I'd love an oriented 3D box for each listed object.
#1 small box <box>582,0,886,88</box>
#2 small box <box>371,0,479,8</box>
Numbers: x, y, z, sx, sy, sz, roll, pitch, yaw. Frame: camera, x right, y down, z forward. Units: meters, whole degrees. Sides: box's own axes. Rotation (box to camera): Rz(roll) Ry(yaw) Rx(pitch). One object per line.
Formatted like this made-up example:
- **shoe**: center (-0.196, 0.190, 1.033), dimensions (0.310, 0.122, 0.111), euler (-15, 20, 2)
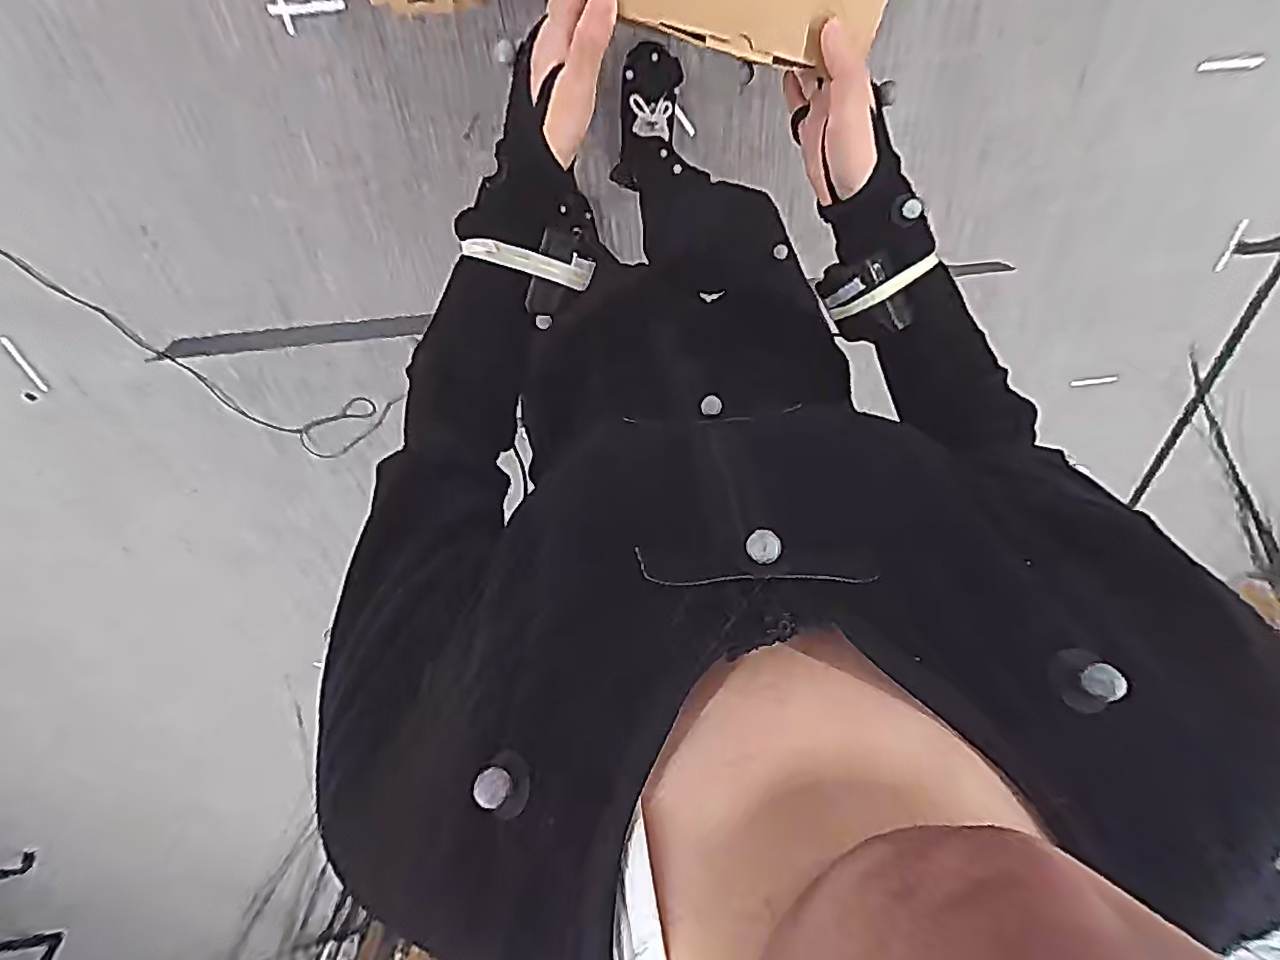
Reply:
- **small box**: center (0.059, -0.369, 0.327), dimensions (0.168, 0.176, 0.179), euler (1, 130, -17)
- **small box**: center (-0.368, -0.895, 0.886), dimensions (0.168, 0.176, 0.179), euler (-7, 127, -4)
